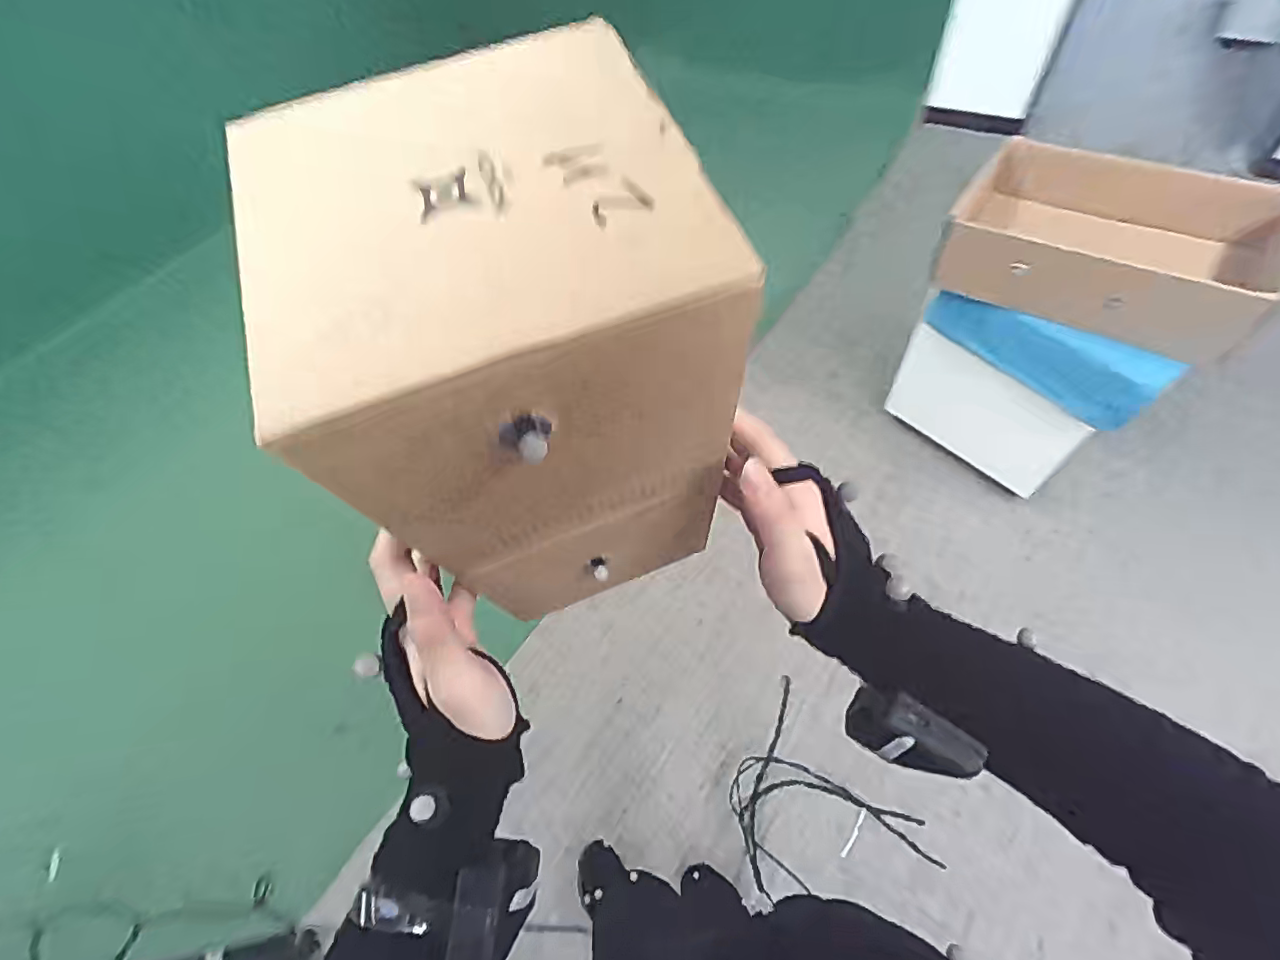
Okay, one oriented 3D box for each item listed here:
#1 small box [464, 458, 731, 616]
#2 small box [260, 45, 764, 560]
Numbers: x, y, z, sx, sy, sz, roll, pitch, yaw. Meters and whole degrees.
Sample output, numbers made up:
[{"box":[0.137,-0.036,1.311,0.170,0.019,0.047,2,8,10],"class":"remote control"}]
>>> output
[{"box":[-0.046,-0.007,0.437,0.179,0.176,0.168,-21,66,-5],"class":"small box"},{"box":[-0.056,-0.074,0.287,0.179,0.176,0.168,-19,67,-5],"class":"small box"}]
